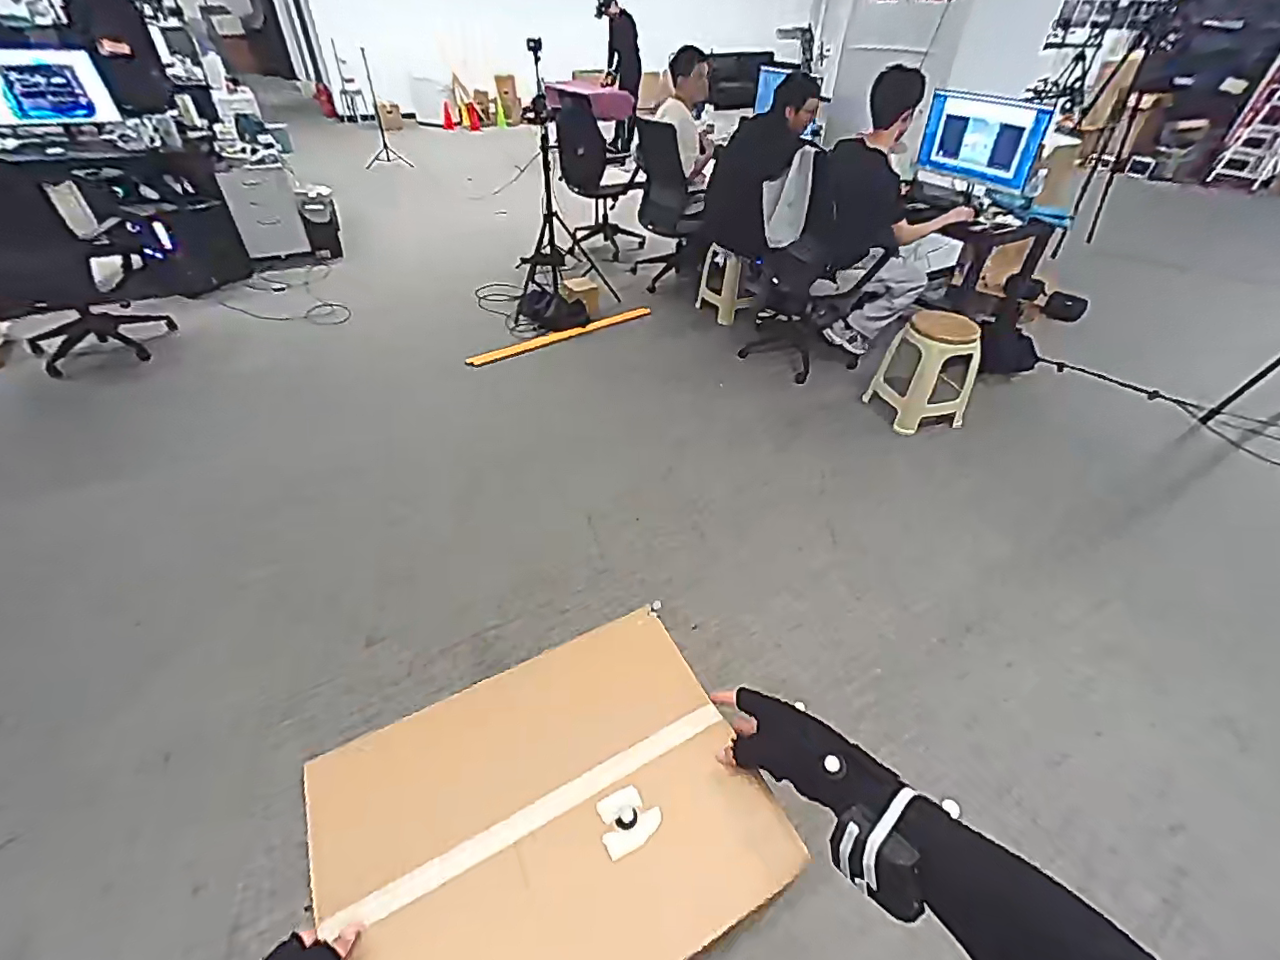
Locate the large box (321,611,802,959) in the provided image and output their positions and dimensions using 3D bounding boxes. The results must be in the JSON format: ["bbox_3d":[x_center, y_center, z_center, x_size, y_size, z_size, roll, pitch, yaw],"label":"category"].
[{"bbox_3d":[-0.089,0.434,0.637,0.408,0.320,0.320,-20,47,-21],"label":"large box"}]
